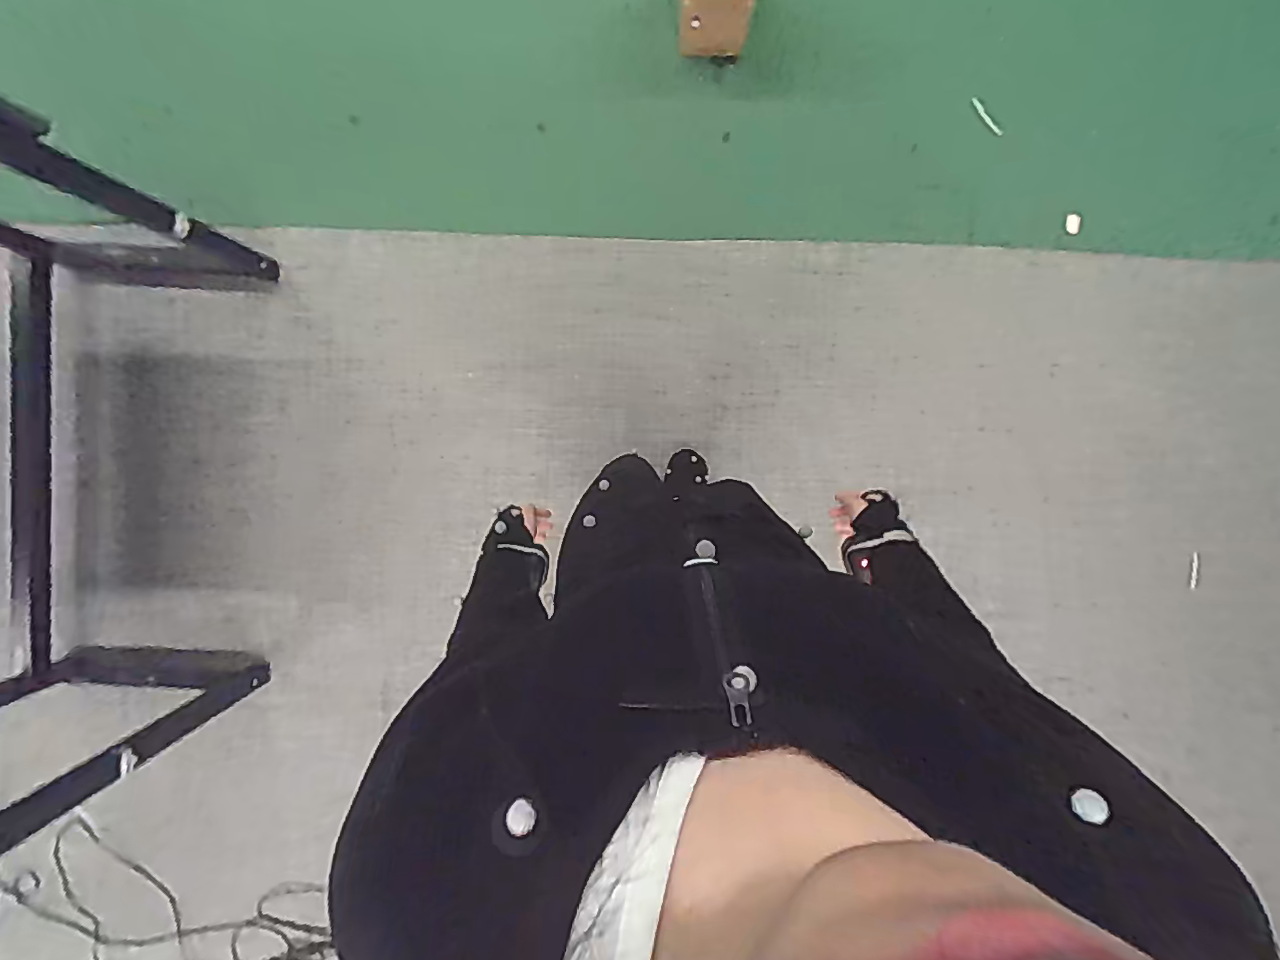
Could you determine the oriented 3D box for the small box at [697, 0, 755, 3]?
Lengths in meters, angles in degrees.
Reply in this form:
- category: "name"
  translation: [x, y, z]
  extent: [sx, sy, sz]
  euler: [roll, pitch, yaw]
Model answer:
- category: "small box"
  translation: [0.198, -1.206, 1.185]
  extent: [0.168, 0.176, 0.179]
  euler: [-1, 93, 1]
